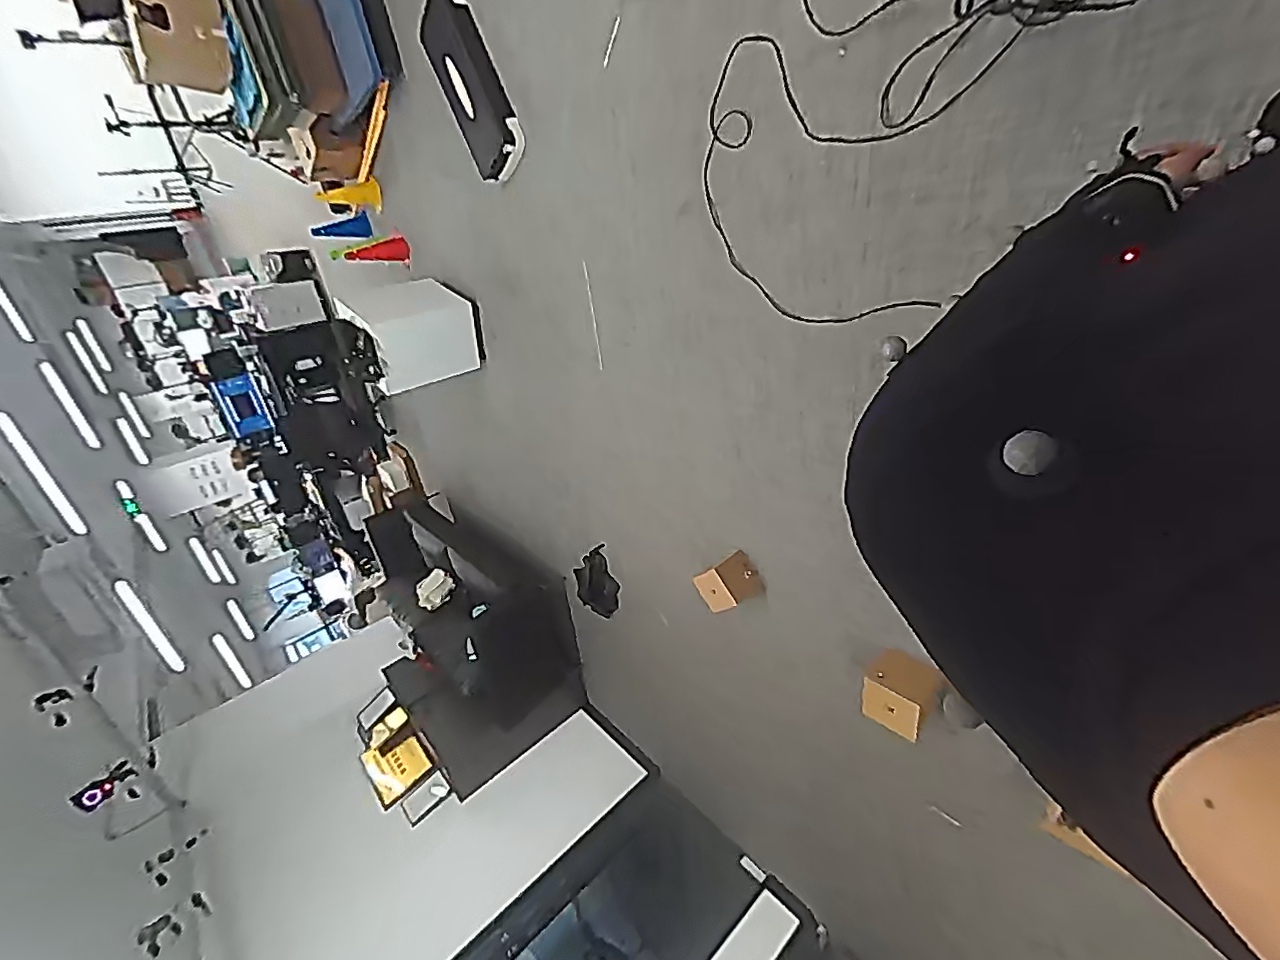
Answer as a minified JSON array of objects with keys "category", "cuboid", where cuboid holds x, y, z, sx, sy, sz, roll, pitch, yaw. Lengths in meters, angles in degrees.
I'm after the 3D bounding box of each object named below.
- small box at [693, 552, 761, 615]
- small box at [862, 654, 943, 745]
[{"category":"small box","cuboid":[0.351,0.415,2.169,0.168,0.176,0.179,56,145,7]},{"category":"small box","cuboid":[0.829,0.683,1.708,0.179,0.176,0.168,21,129,46]}]
